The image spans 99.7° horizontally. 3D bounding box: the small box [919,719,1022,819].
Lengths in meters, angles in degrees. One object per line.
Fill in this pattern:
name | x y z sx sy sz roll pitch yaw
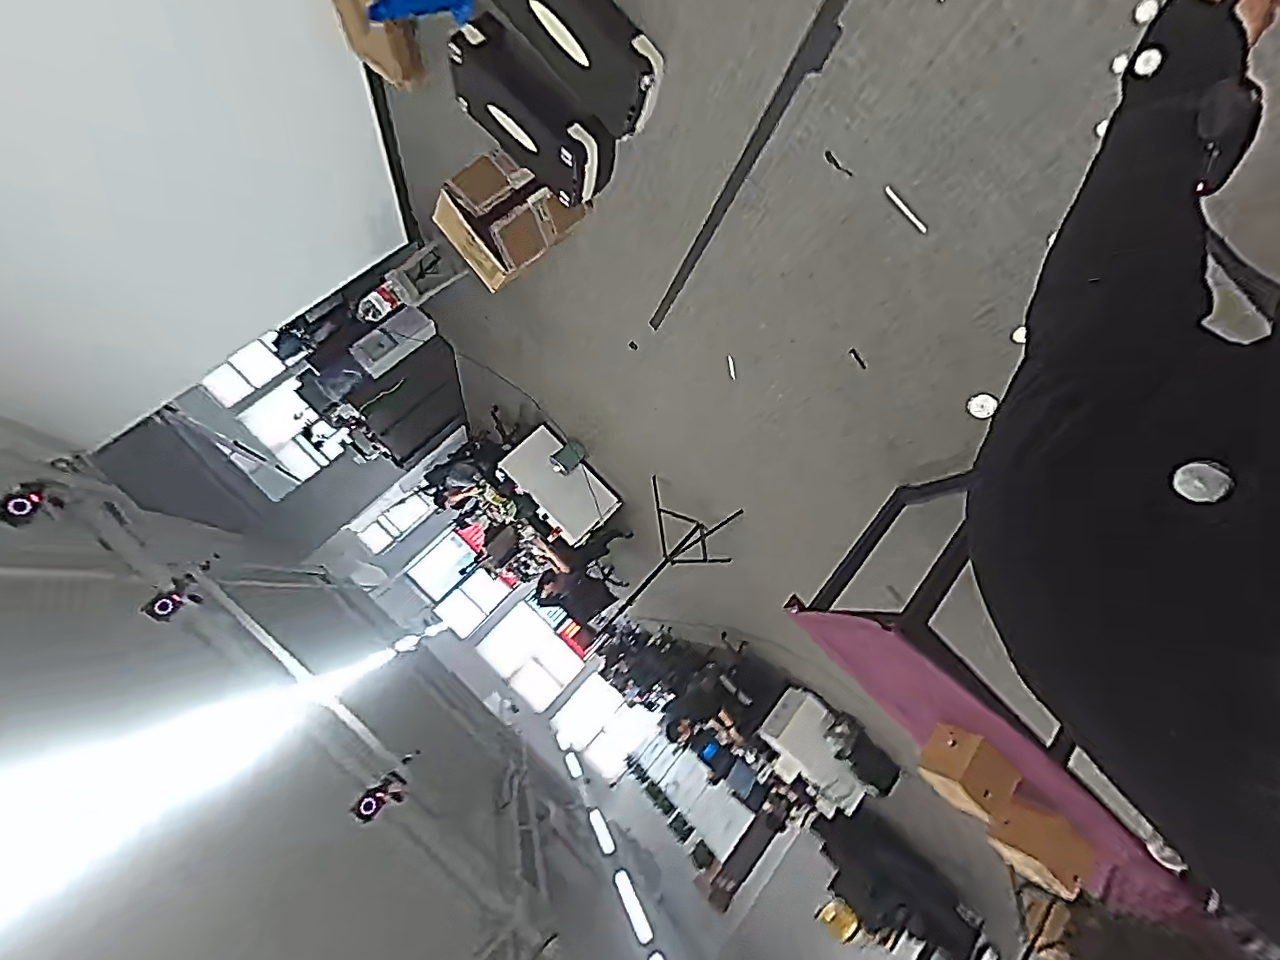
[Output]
small box | 1.002 0.866 1.636 0.179 0.176 0.168 46 162 -4
